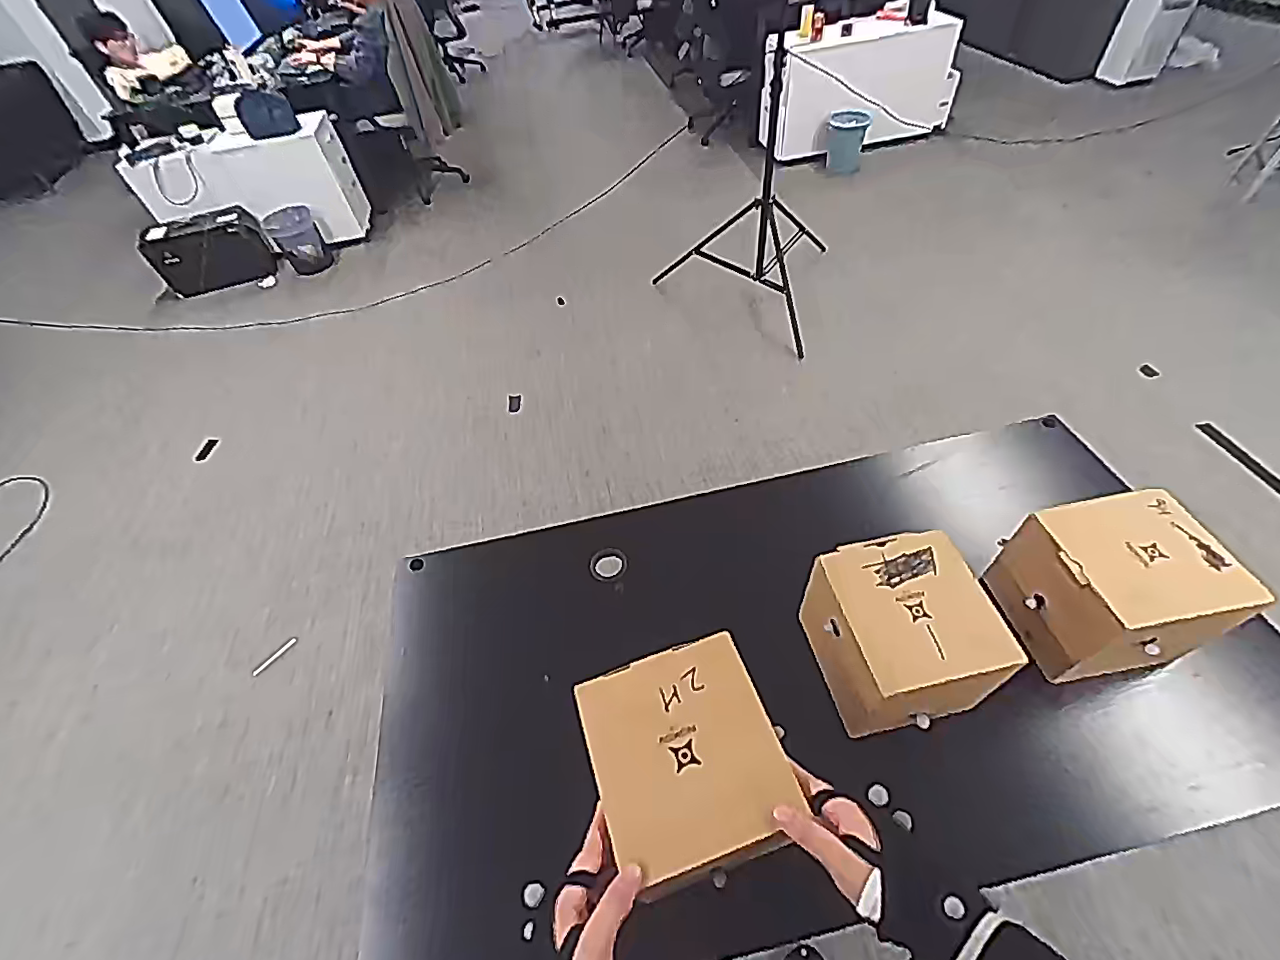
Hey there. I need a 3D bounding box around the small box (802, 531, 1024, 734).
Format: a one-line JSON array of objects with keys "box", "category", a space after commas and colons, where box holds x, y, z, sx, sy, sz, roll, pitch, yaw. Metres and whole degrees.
[{"box": [0.320, 0.194, 0.683, 0.168, 0.176, 0.179, -12, 51, -3], "category": "small box"}]

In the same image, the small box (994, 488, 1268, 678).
[{"box": [0.595, 0.137, 0.695, 0.179, 0.176, 0.168, -11, 50, -1], "category": "small box"}]

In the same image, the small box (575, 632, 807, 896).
[{"box": [0.048, 0.289, 0.548, 0.168, 0.176, 0.179, -18, 50, -6], "category": "small box"}]
